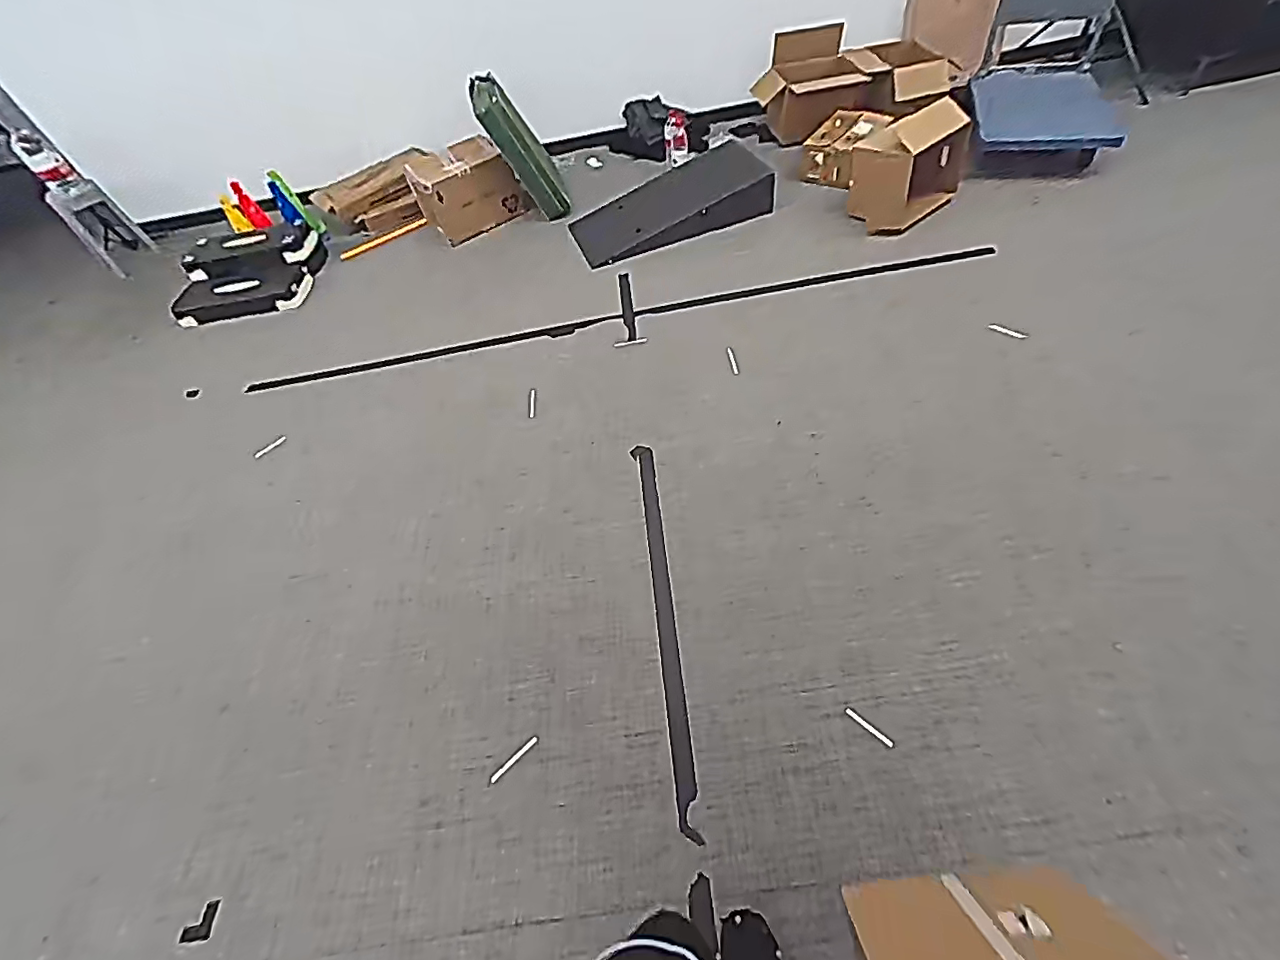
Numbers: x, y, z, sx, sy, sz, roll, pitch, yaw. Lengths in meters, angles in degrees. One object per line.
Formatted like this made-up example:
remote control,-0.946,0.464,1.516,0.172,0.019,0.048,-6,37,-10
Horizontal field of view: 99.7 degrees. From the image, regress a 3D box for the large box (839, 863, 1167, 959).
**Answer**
large box,0.454,0.700,0.595,0.320,0.408,0.320,-10,76,6
